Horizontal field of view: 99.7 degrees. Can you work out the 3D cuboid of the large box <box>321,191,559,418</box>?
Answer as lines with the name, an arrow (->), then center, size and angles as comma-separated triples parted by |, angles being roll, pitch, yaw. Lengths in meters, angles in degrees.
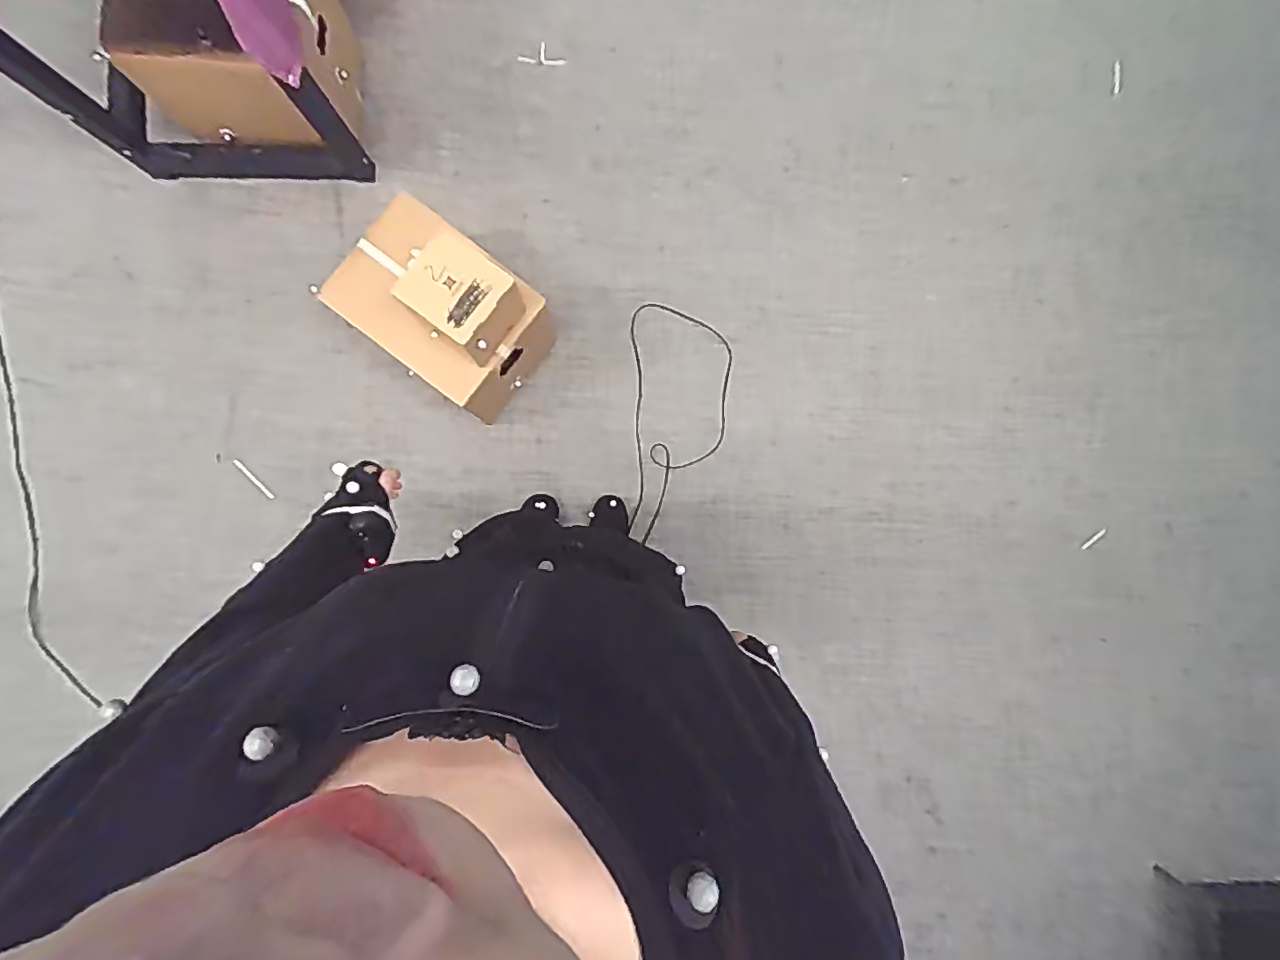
large box -> -0.462, -0.404, 1.347 | 0.408, 0.320, 0.320 | 38, 86, -2
